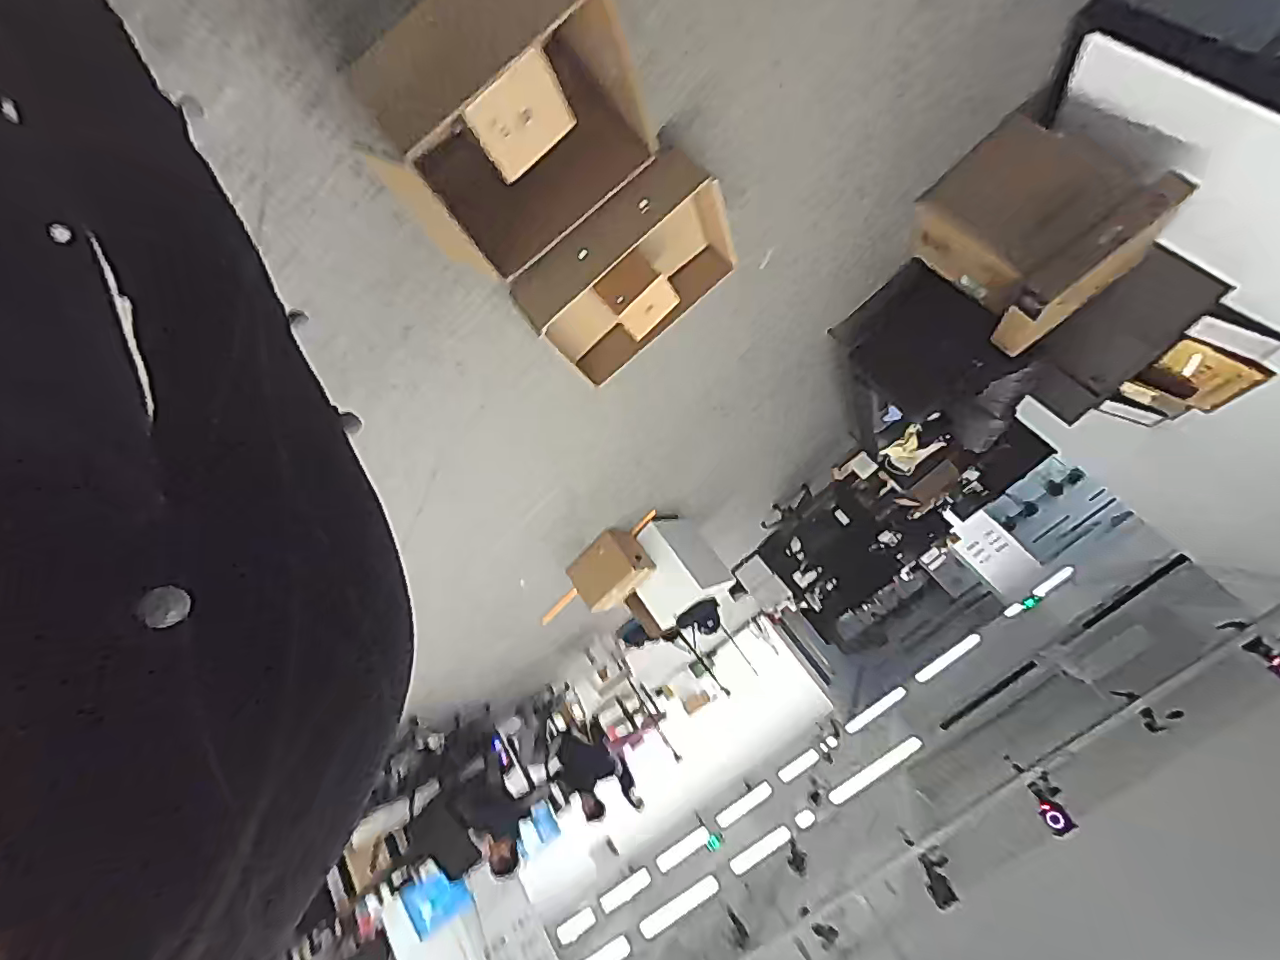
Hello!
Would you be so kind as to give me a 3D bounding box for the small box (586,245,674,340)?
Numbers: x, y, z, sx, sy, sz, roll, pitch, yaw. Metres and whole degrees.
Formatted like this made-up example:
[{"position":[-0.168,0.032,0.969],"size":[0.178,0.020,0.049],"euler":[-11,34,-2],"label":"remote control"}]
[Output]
[{"position":[-0.031,-0.566,1.633],"size":[0.179,0.176,0.168],"euler":[-42,157,10],"label":"small box"}]
